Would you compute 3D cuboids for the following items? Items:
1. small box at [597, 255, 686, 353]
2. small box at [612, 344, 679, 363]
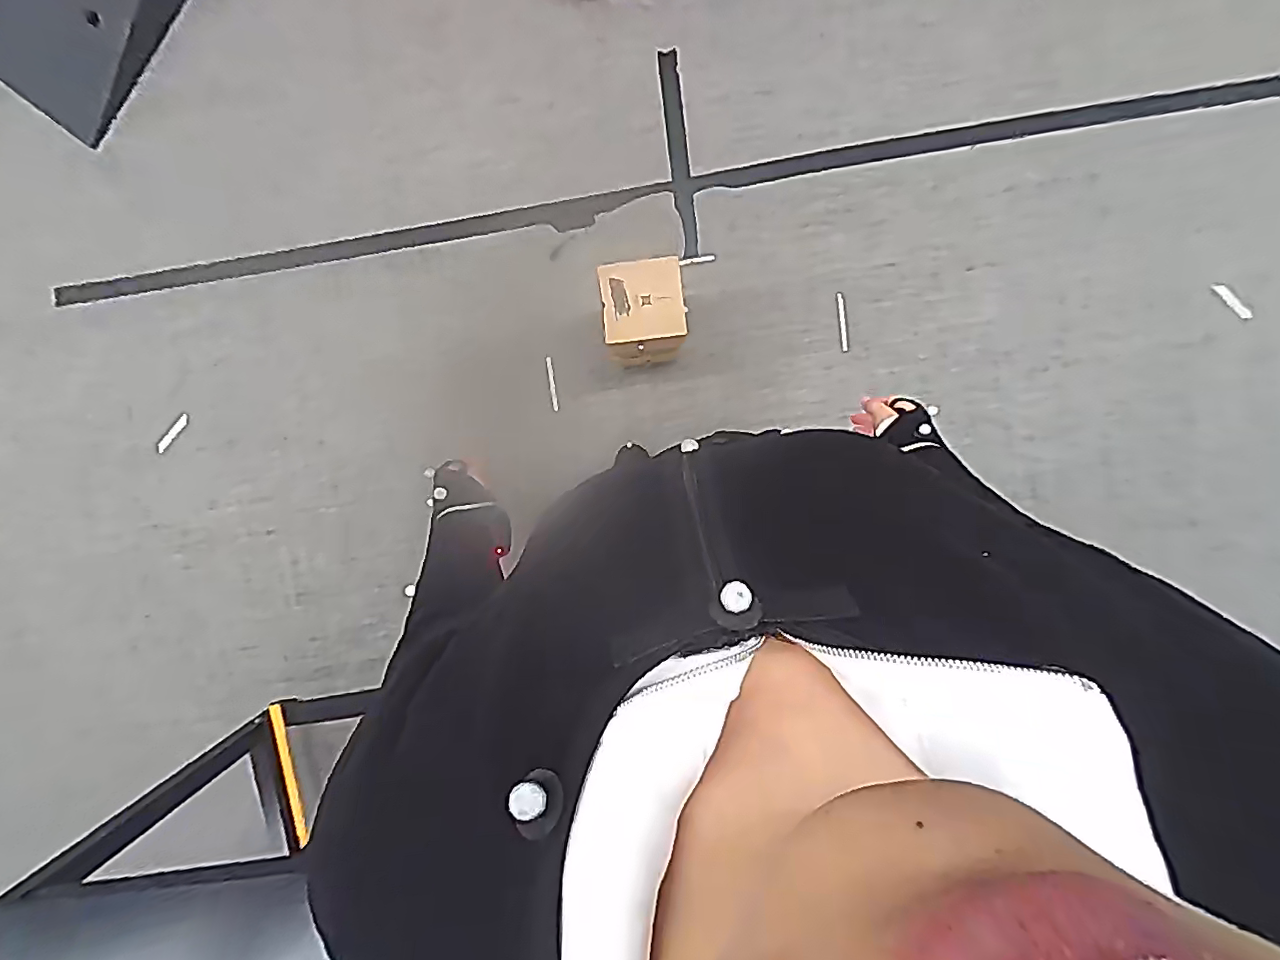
[{"bbox_3d":[0.007,-0.386,1.210,0.179,0.176,0.168,-6,95,2],"label":"small box"},{"bbox_3d":[0.010,-0.395,1.375,0.168,0.176,0.179,-6,96,2],"label":"small box"}]
